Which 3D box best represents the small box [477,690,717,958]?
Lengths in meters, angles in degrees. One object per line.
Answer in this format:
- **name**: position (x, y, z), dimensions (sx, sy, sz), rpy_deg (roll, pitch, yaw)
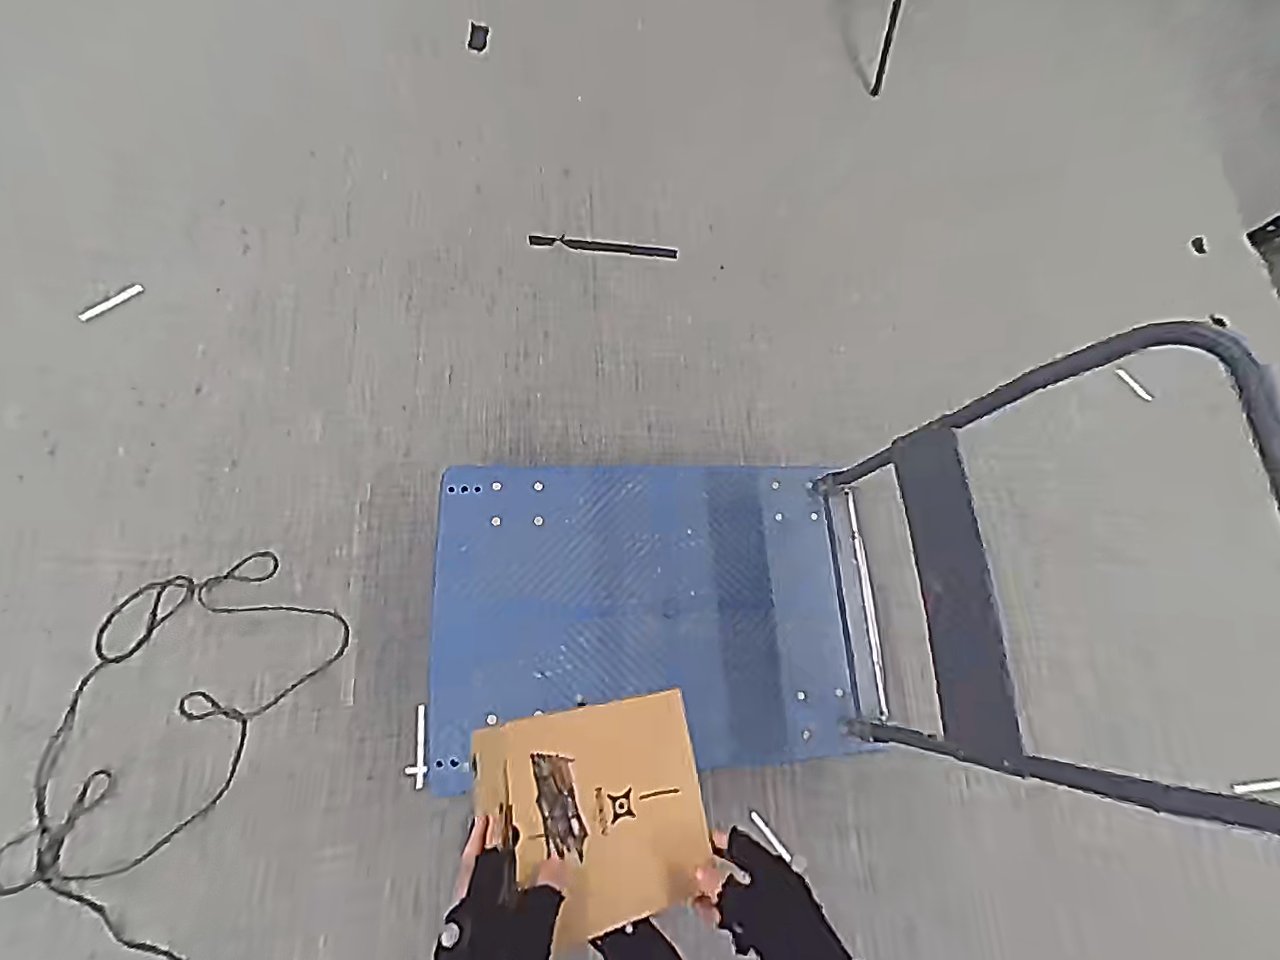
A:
- **small box**: position (-0.056, 0.305, 0.516), dimensions (0.179, 0.176, 0.168), rpy_deg (2, 65, -27)
